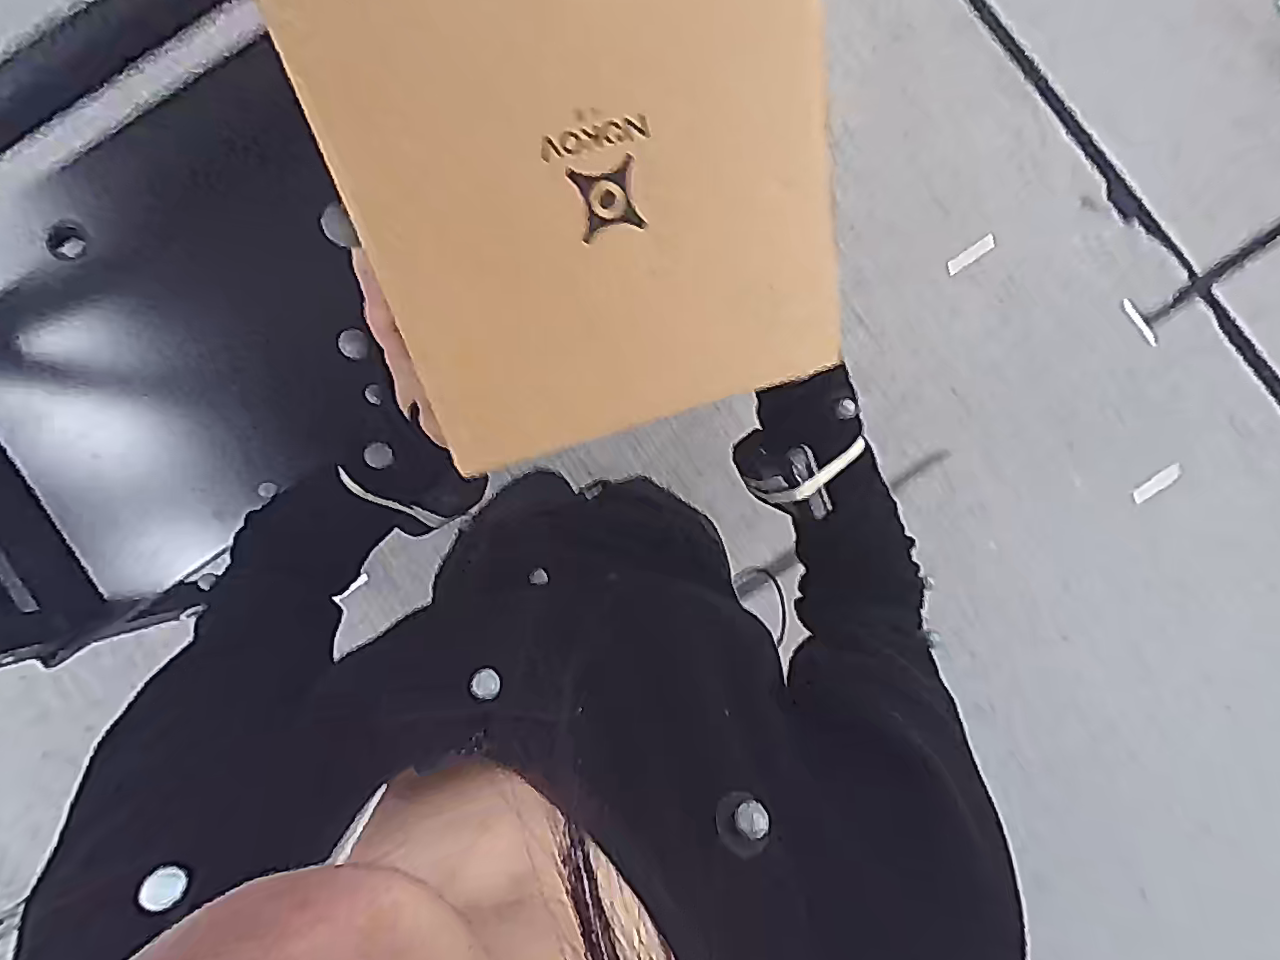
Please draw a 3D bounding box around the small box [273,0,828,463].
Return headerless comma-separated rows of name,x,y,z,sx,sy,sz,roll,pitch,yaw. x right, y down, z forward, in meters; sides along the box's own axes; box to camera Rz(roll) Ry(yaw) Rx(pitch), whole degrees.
small box,-0.028,-0.135,0.261,0.168,0.176,0.179,-16,116,-5
